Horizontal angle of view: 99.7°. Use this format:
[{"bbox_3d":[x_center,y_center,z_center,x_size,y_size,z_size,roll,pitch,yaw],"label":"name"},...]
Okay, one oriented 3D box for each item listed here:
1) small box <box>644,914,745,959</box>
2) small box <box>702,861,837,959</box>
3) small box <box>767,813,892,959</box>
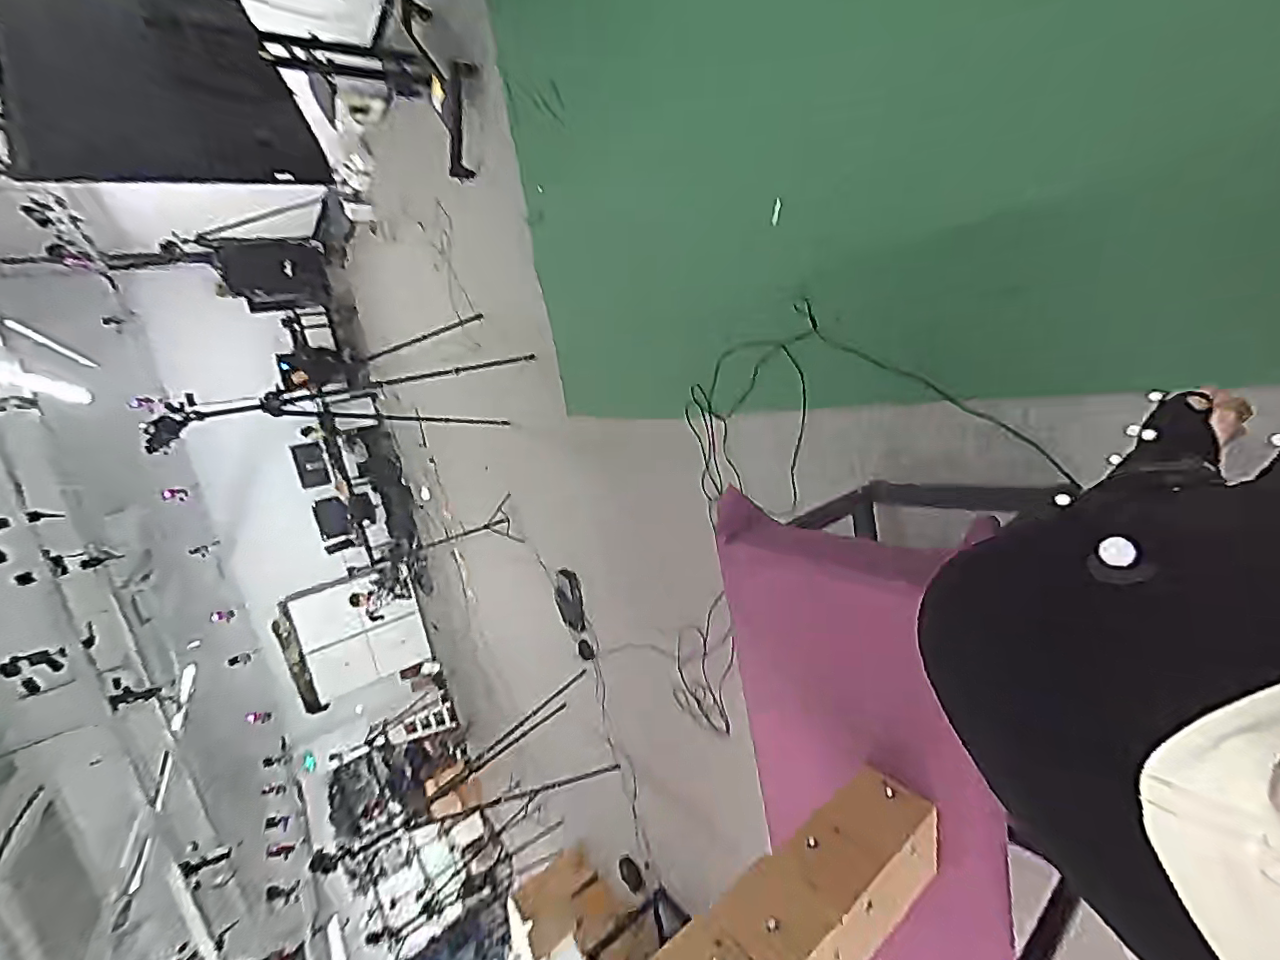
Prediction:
[{"bbox_3d":[0.103,0.883,0.883,0.168,0.176,0.179,9,111,54],"label":"small box"},{"bbox_3d":[0.236,0.843,0.971,0.179,0.176,0.168,12,113,53],"label":"small box"},{"bbox_3d":[0.371,0.804,1.055,0.168,0.176,0.179,12,114,53],"label":"small box"}]
